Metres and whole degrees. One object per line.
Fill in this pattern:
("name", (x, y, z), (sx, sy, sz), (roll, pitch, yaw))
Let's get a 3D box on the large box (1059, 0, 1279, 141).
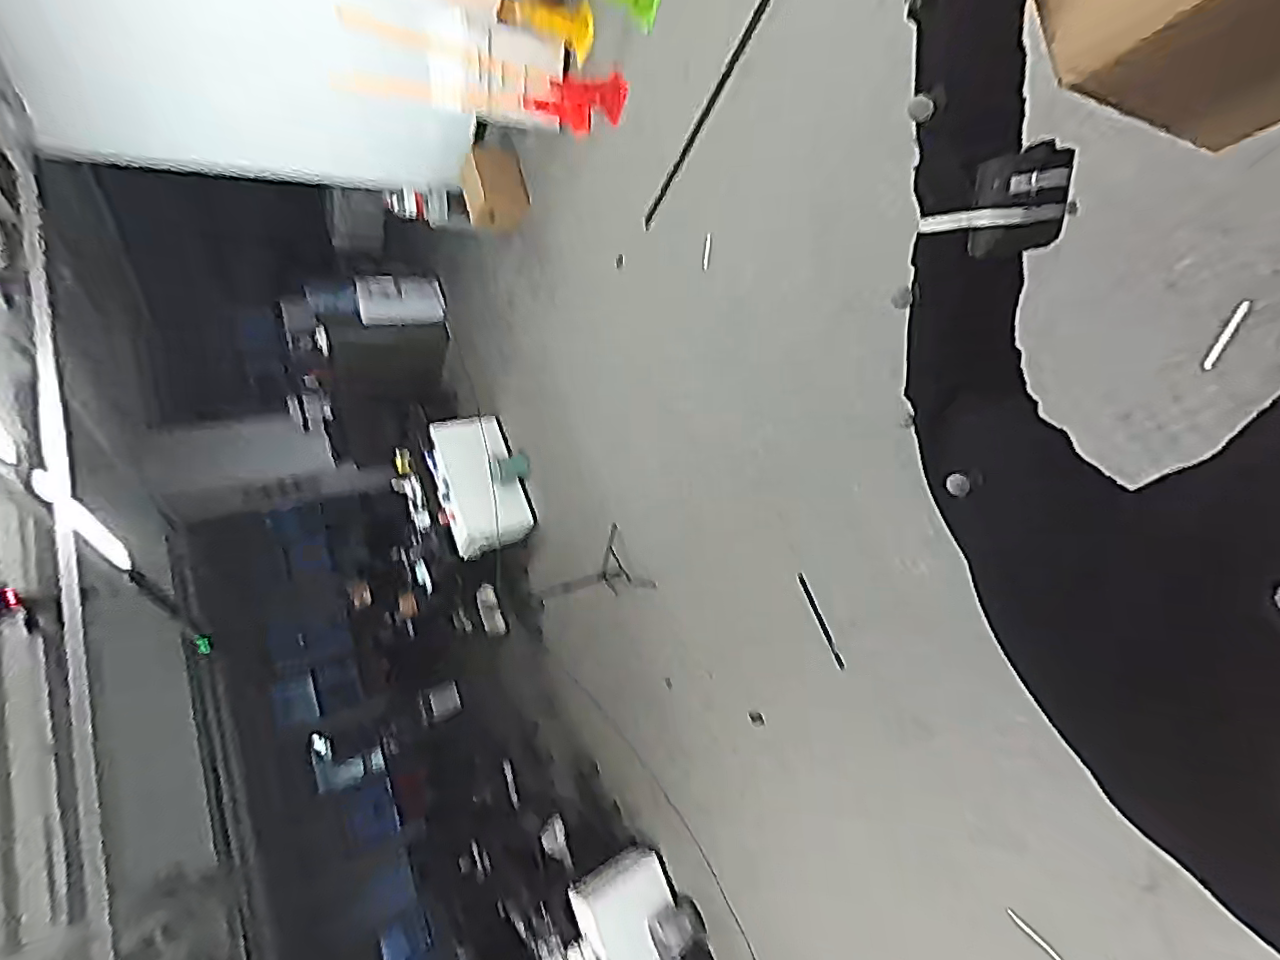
("large box", (0.453, -0.449, 0.243), (0.408, 0.320, 0.320), (-16, 87, 59))
